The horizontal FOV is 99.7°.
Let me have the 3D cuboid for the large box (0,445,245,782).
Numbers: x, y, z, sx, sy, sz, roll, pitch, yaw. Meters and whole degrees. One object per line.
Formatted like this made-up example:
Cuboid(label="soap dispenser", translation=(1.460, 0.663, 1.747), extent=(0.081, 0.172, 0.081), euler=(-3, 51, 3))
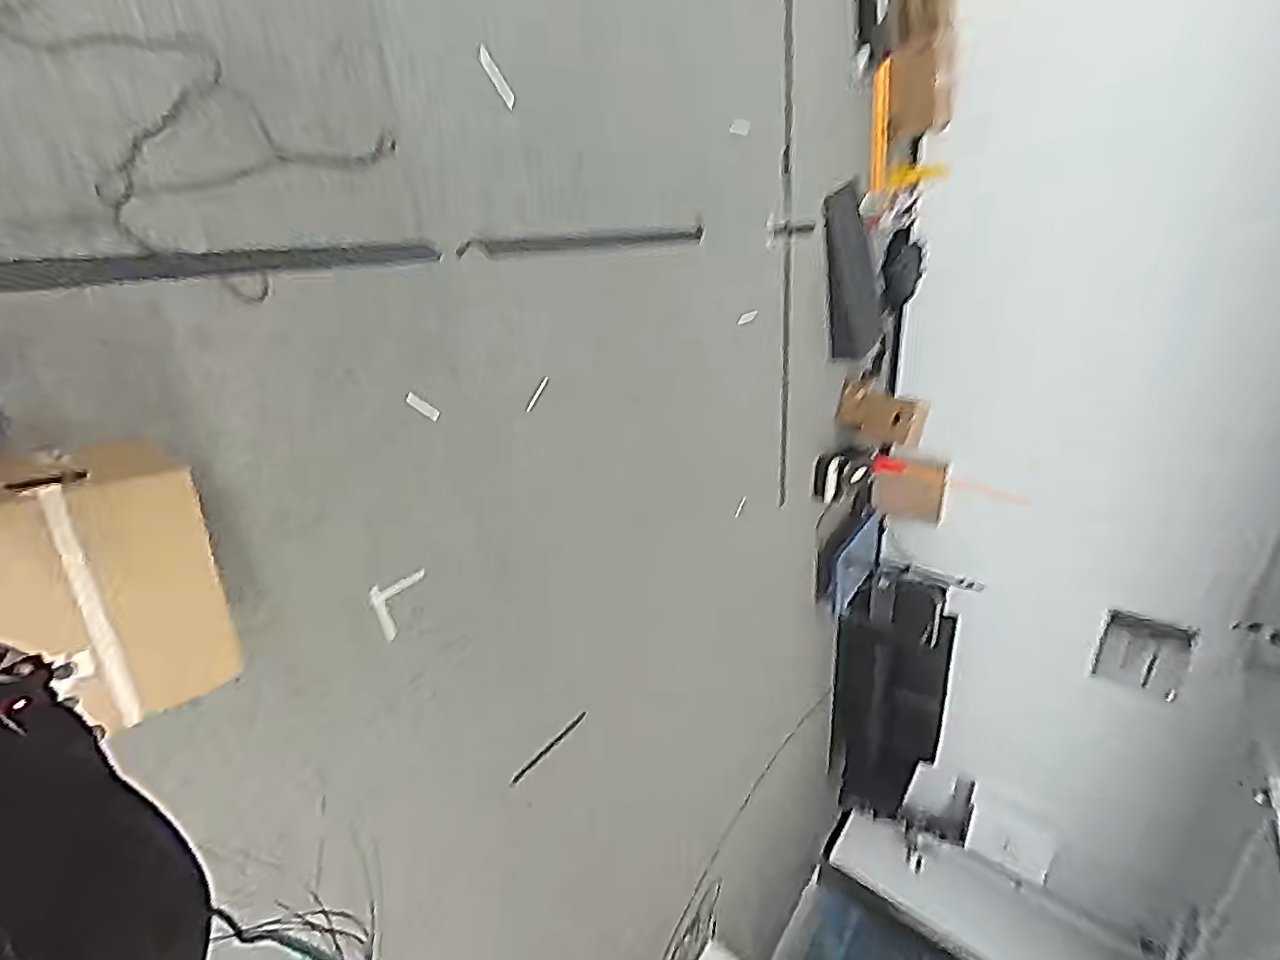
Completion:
Cuboid(label="large box", translation=(-0.948, 0.186, 0.918), extent=(0.320, 0.320, 0.408), euler=(-21, 118, -47))
